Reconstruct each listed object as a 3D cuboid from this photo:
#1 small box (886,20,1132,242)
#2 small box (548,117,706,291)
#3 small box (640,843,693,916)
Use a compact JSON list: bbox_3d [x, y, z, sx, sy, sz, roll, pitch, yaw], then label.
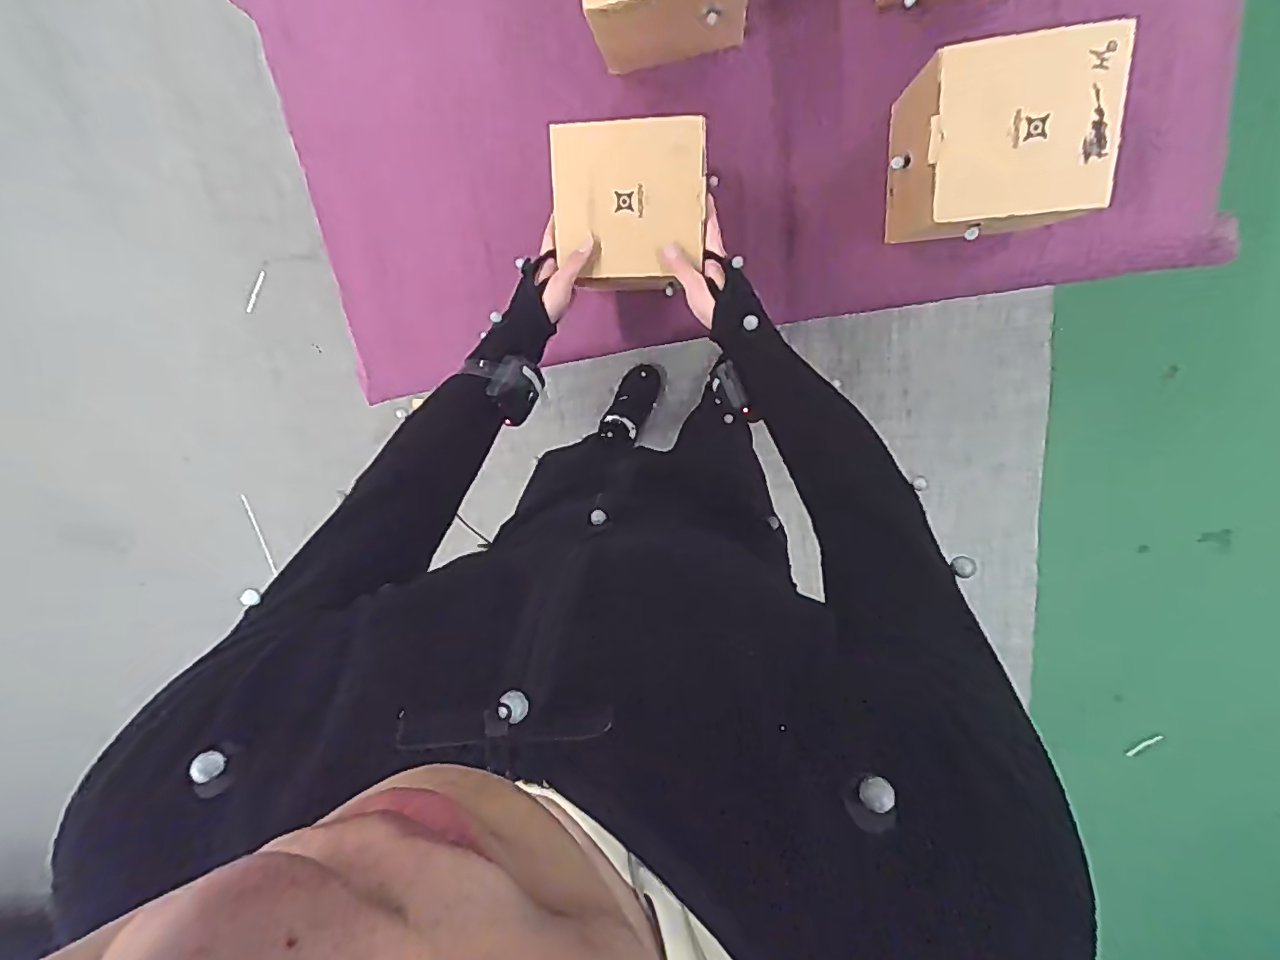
[{"bbox_3d":[0.396,-0.377,0.621,0.179,0.176,0.168,-2,107,9],"label":"small box"},{"bbox_3d":[-0.008,-0.334,0.683,0.179,0.176,0.168,2,104,7],"label":"small box"},{"bbox_3d":[0.106,1.495,2.034,0.179,0.176,0.168,-7,107,10],"label":"small box"}]
